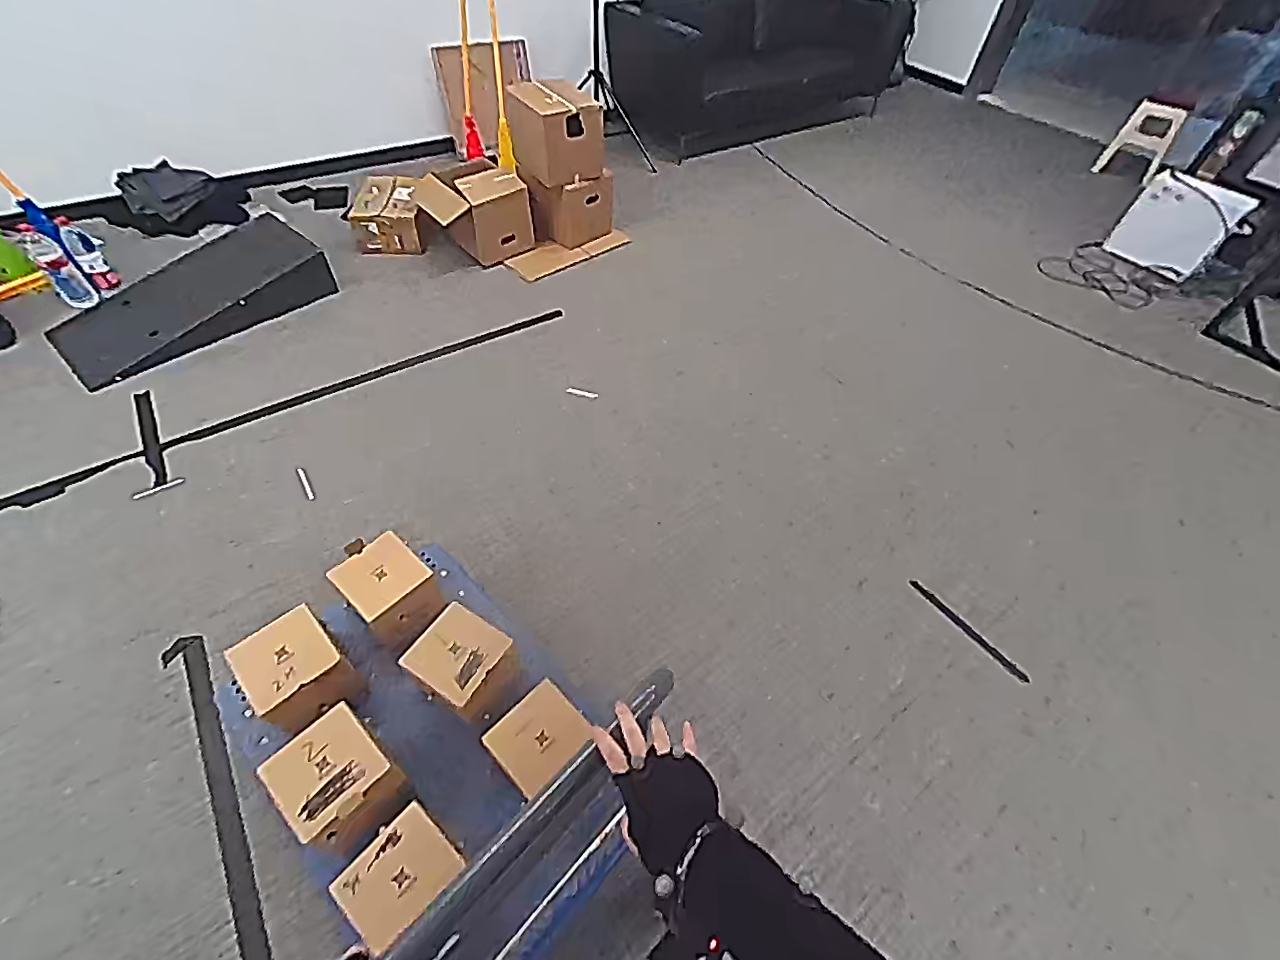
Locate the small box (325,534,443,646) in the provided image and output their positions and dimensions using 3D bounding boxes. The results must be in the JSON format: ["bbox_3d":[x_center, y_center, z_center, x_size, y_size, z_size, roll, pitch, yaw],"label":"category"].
[{"bbox_3d":[-0.597,0.270,1.284,0.179,0.176,0.168,35,56,21],"label":"small box"}]

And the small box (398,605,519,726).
[{"bbox_3d":[-0.386,0.413,1.187,0.179,0.176,0.168,27,53,16],"label":"small box"}]

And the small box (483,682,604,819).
[{"bbox_3d":[-0.189,0.551,1.095,0.179,0.176,0.168,37,56,24],"label":"small box"}]

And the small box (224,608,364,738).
[{"bbox_3d":[-0.727,0.414,1.152,0.179,0.176,0.168,40,58,23],"label":"small box"}]

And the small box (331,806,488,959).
[{"bbox_3d":[-0.387,0.713,0.942,0.179,0.176,0.168,35,55,21],"label":"small box"}]
